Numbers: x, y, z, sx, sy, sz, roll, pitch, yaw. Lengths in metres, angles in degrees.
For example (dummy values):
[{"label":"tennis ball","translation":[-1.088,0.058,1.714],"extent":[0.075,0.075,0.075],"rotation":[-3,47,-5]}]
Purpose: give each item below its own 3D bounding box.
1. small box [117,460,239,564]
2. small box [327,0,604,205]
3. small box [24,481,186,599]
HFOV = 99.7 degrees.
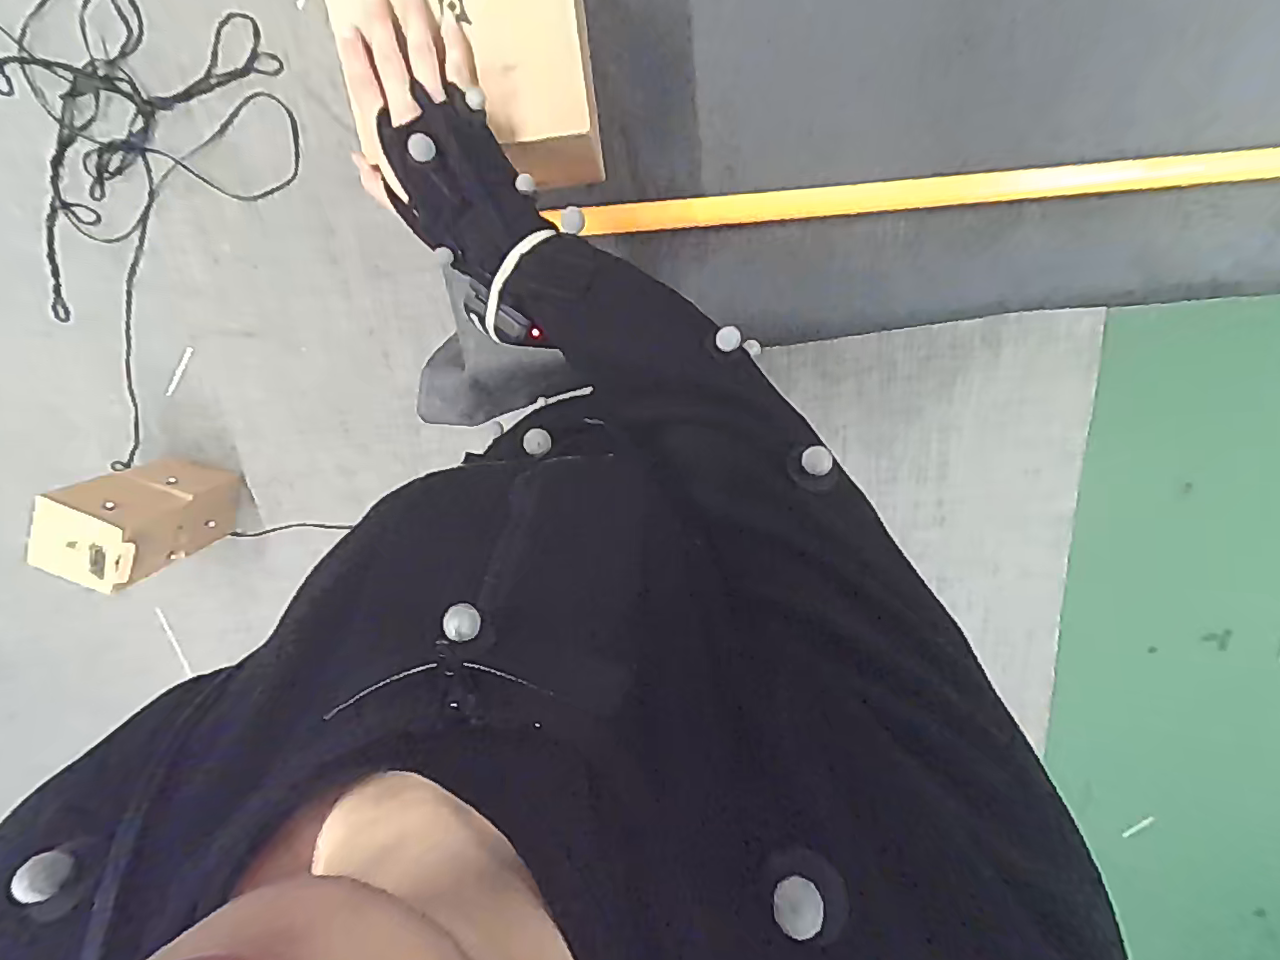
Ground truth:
[{"label":"small box","translation":[-1.125,0.072,1.320],"extent":[0.168,0.176,0.179],"rotation":[20,106,-6]},{"label":"small box","translation":[-0.124,-0.339,0.432],"extent":[0.168,0.176,0.179],"rotation":[-7,108,3]},{"label":"small box","translation":[-1.136,0.120,1.162],"extent":[0.179,0.176,0.168],"rotation":[25,105,-7]}]
